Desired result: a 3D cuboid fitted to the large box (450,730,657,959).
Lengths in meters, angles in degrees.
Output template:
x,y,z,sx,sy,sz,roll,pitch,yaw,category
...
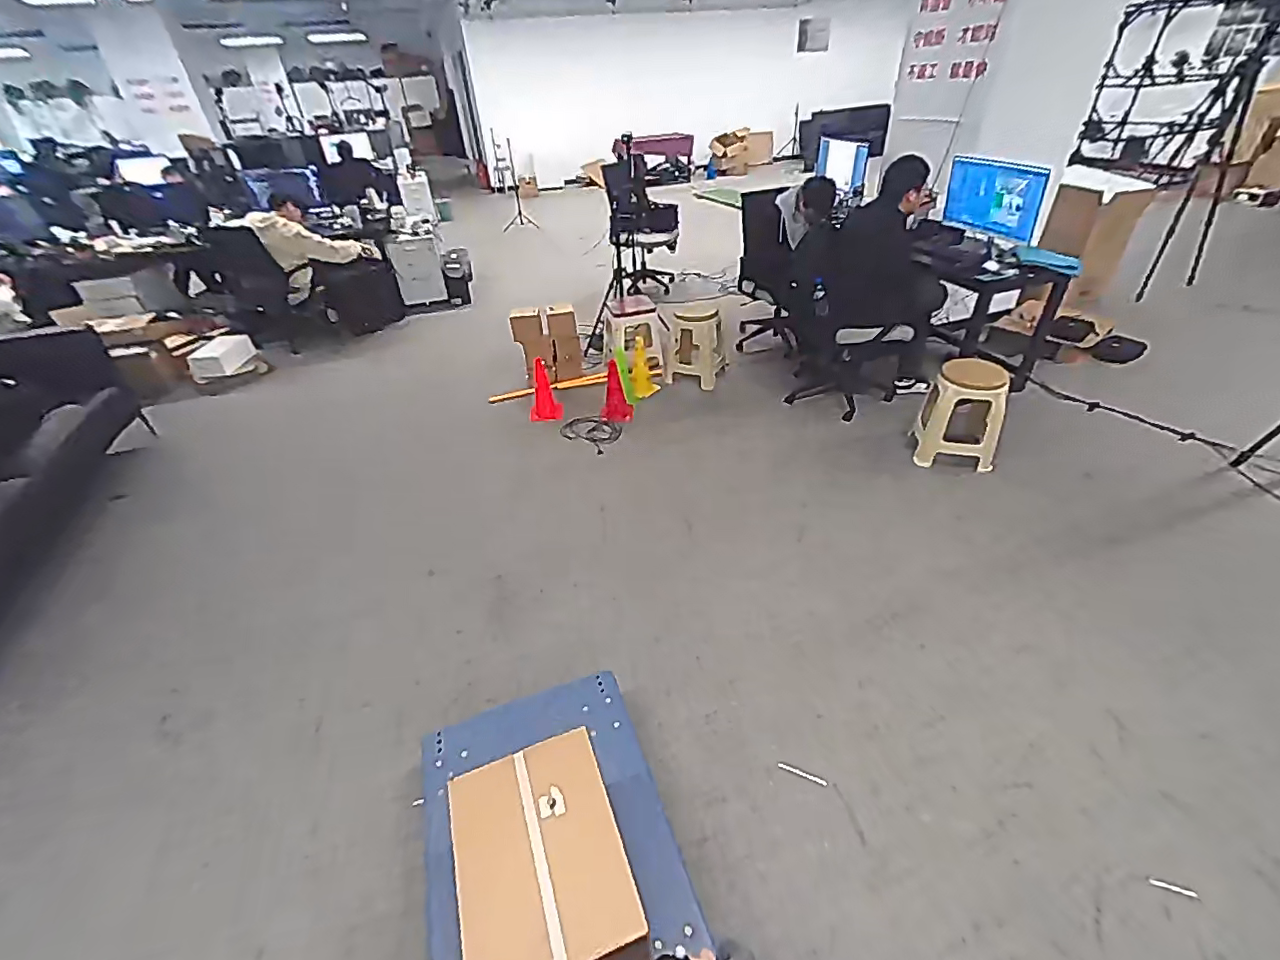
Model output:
x,y,z,sx,sy,sz,roll,pitch,yaw,category
-0.186,0.840,1.148,0.320,0.320,0.408,-16,38,-14,large box
